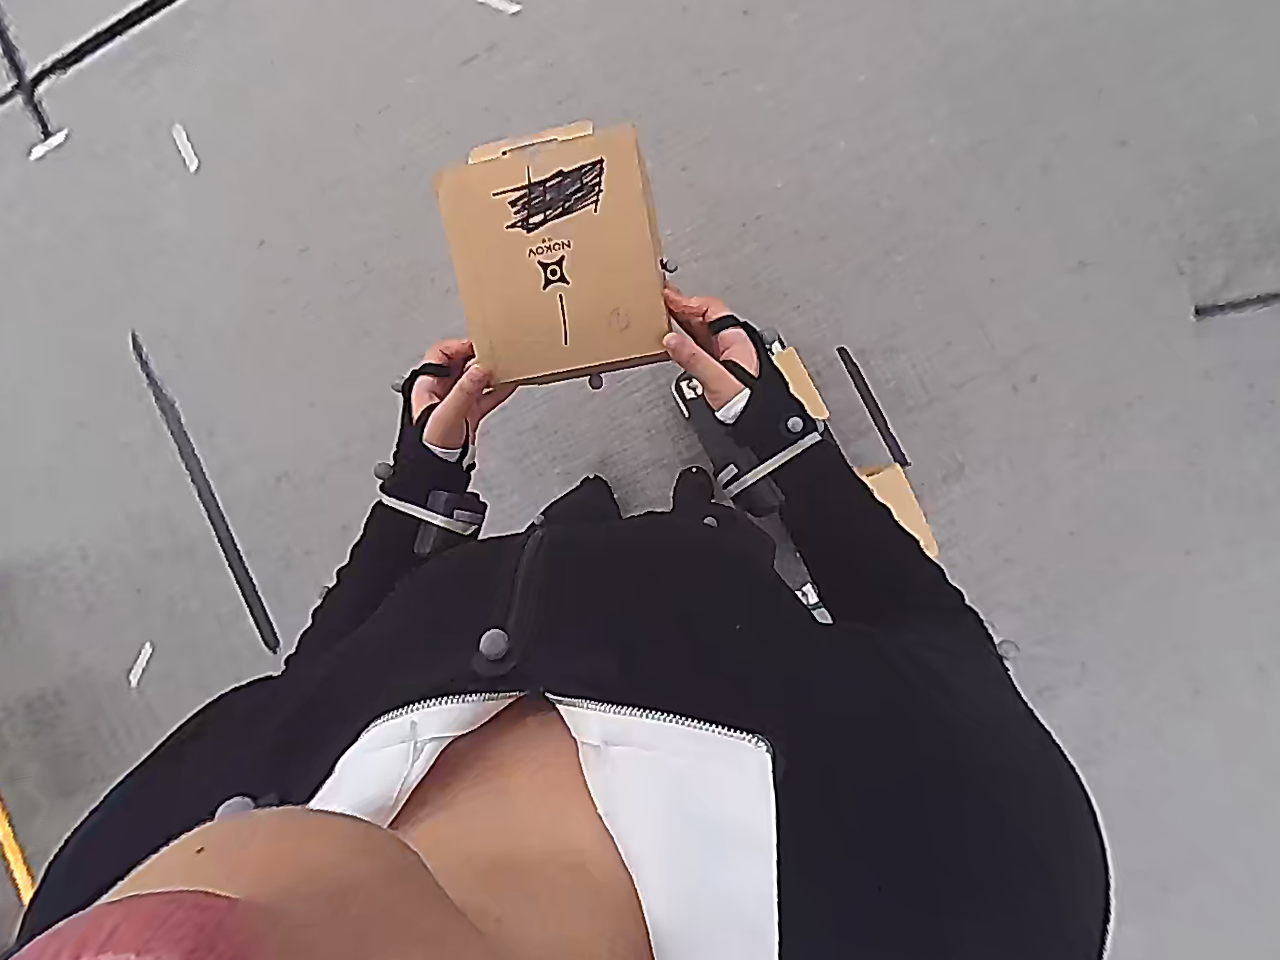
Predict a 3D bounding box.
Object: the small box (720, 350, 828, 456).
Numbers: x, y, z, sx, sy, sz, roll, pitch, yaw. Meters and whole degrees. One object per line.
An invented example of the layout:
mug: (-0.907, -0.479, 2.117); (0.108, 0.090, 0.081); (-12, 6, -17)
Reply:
small box: (0.280, -0.163, 1.193); (0.179, 0.176, 0.168); (-27, 88, 4)

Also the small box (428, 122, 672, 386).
small box: (-0.067, -0.188, 0.510); (0.168, 0.176, 0.179); (-10, 99, 8)

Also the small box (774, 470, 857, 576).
small box: (0.410, 0.086, 1.186); (0.168, 0.176, 0.179); (-25, 88, 4)

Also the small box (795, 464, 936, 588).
small box: (0.413, 0.082, 1.023); (0.168, 0.176, 0.179); (-23, 88, 4)

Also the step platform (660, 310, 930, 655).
step platform: (0.309, 0.005, 1.157); (0.286, 0.204, 0.684); (-27, 89, 4)
